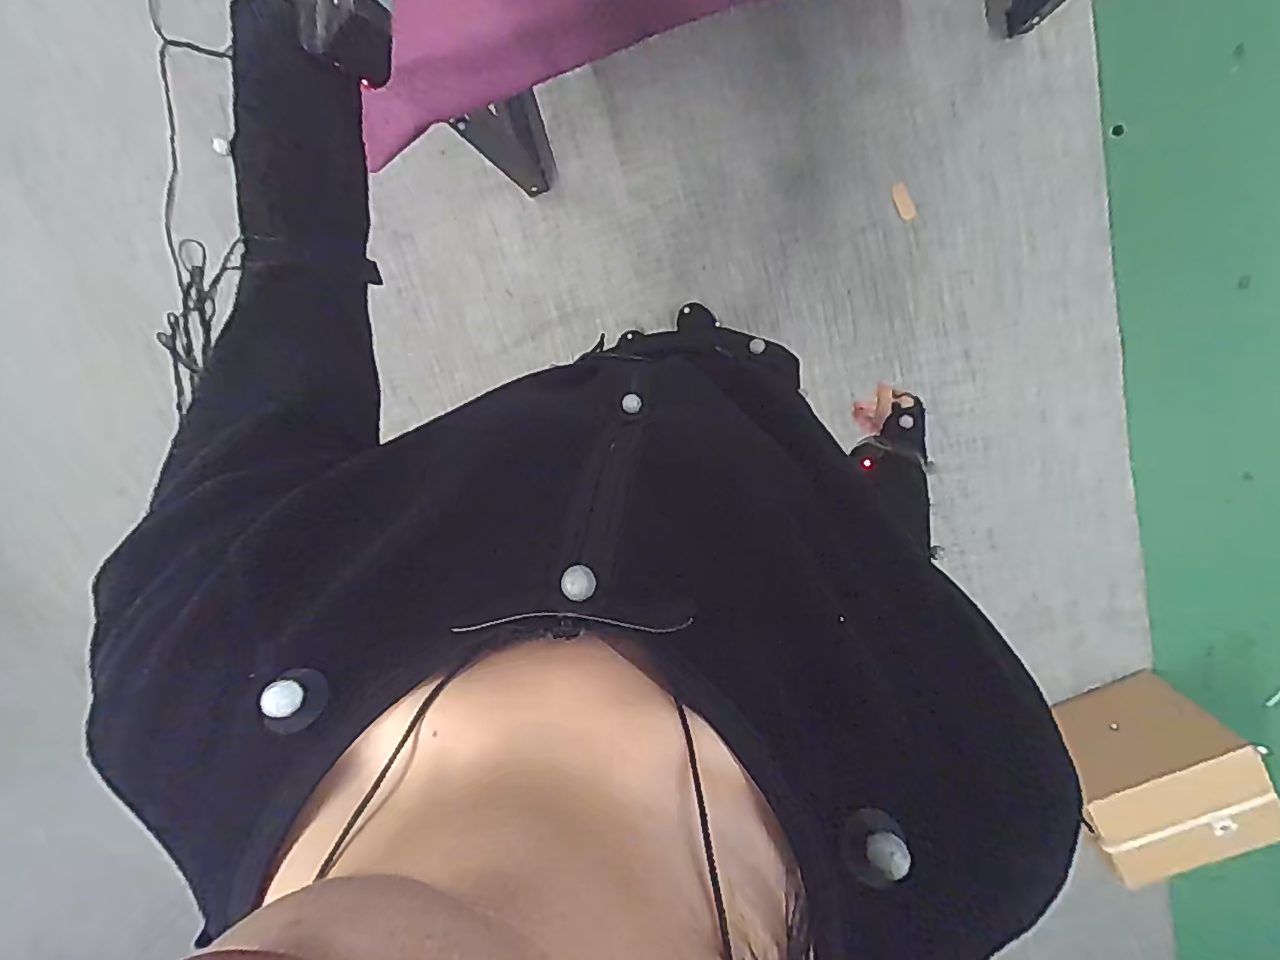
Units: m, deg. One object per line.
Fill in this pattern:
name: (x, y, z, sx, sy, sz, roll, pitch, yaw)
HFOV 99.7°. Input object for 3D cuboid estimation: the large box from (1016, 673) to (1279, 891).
large box: (1.372, 0.814, 1.491, 0.408, 0.320, 0.320, -30, 102, 10)

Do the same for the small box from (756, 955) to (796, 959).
small box: (0.405, 1.466, 1.487, 0.168, 0.176, 0.179, 2, 107, 3)
